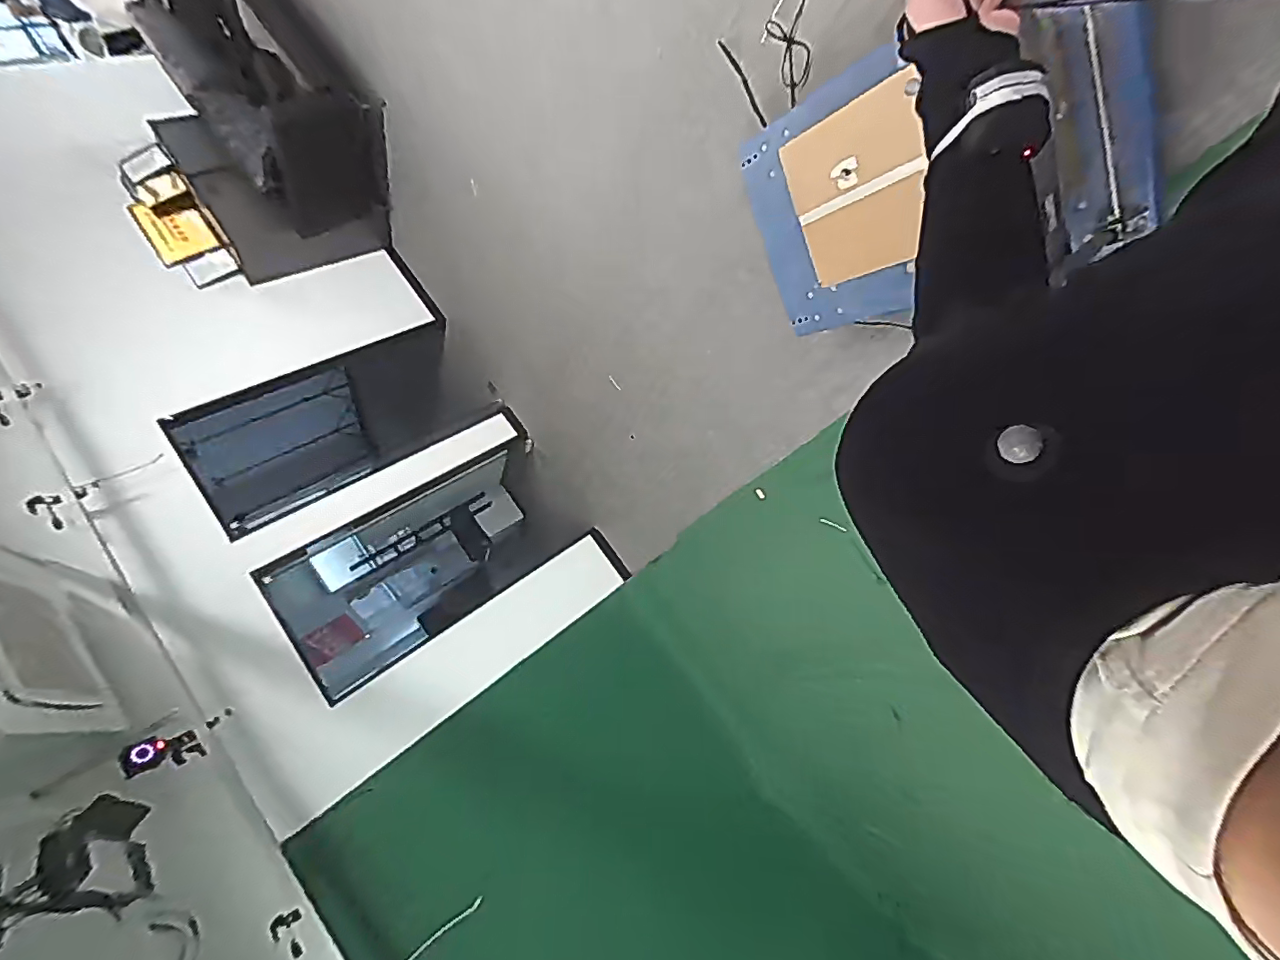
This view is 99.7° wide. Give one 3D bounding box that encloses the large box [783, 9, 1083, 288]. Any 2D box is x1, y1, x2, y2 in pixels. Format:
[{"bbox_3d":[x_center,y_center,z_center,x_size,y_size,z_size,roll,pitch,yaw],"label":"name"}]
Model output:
[{"bbox_3d":[0.583,-0.643,1.100,0.408,0.320,0.320,1,118,57],"label":"large box"}]
